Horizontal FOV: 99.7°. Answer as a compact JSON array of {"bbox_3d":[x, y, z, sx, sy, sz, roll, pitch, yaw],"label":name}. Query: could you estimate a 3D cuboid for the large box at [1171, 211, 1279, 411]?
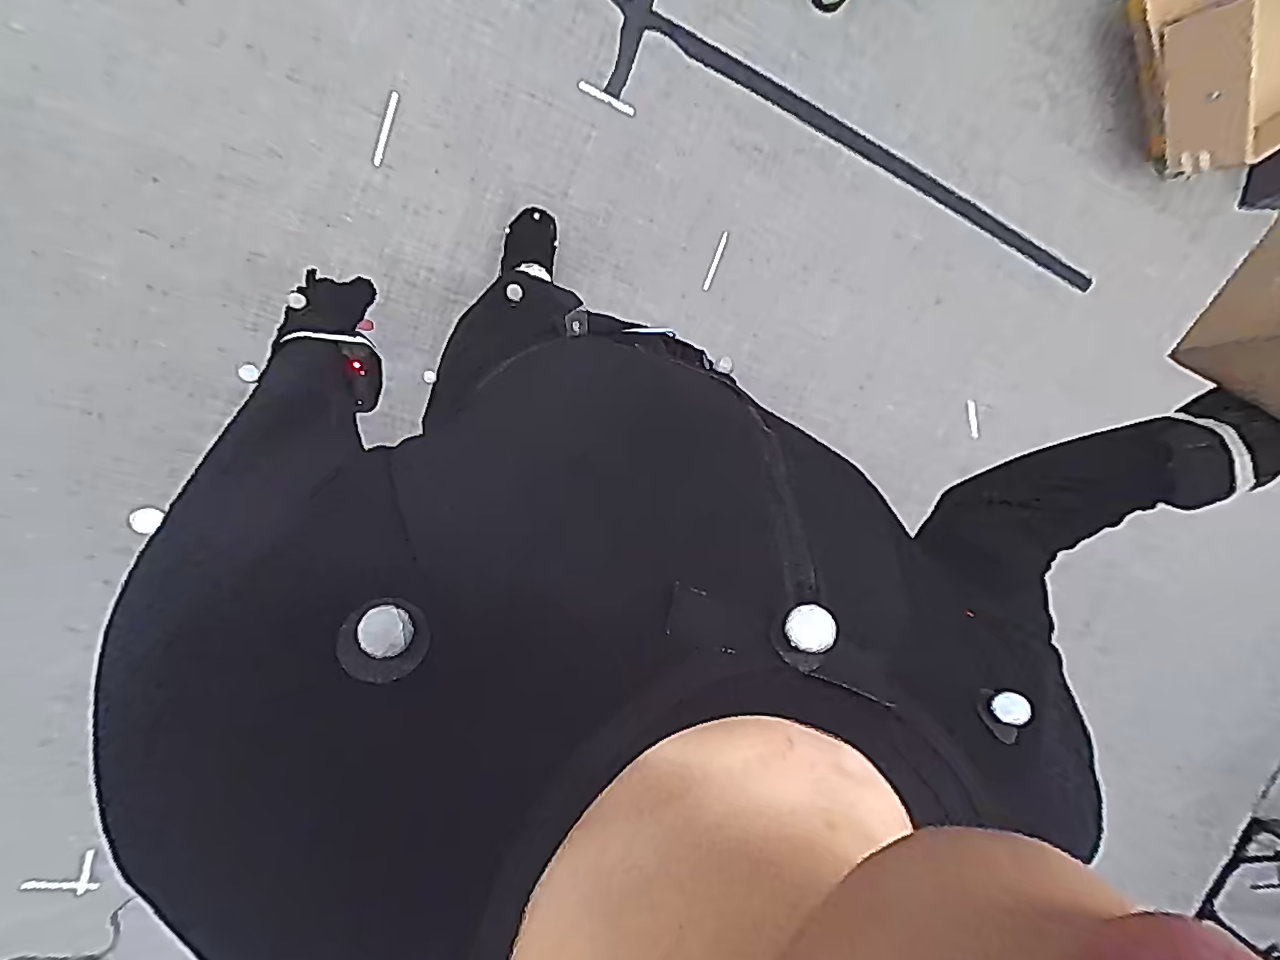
[{"bbox_3d":[0.550,-0.117,0.164,0.320,0.408,0.320,34,106,6],"label":"large box"}]
